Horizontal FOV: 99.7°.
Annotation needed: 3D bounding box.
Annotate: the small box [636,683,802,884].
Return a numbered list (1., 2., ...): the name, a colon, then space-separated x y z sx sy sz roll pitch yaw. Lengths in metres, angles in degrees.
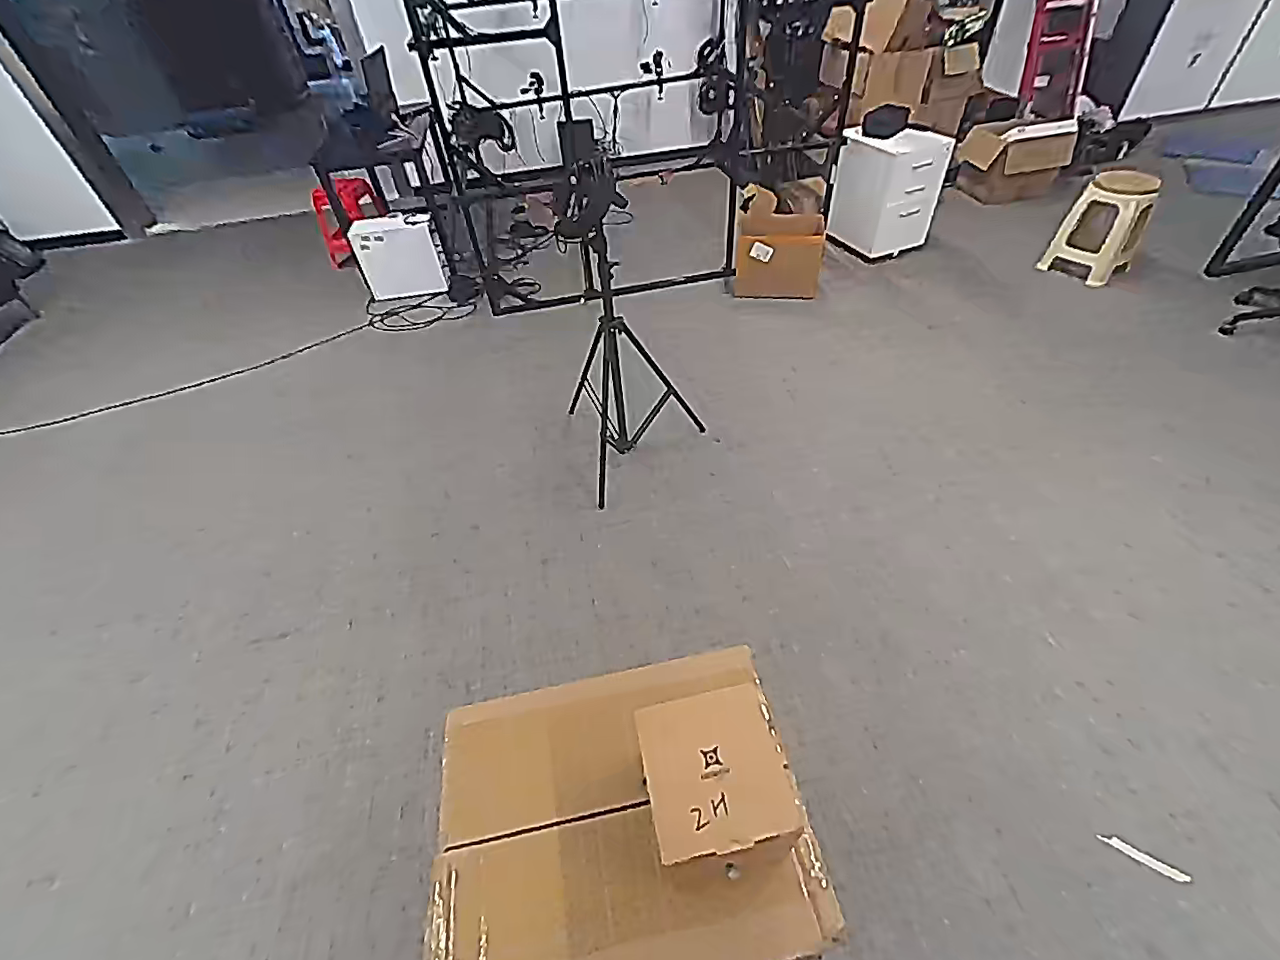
1. small box: 0.093 0.402 0.717 0.168 0.176 0.179 -12 47 -5
